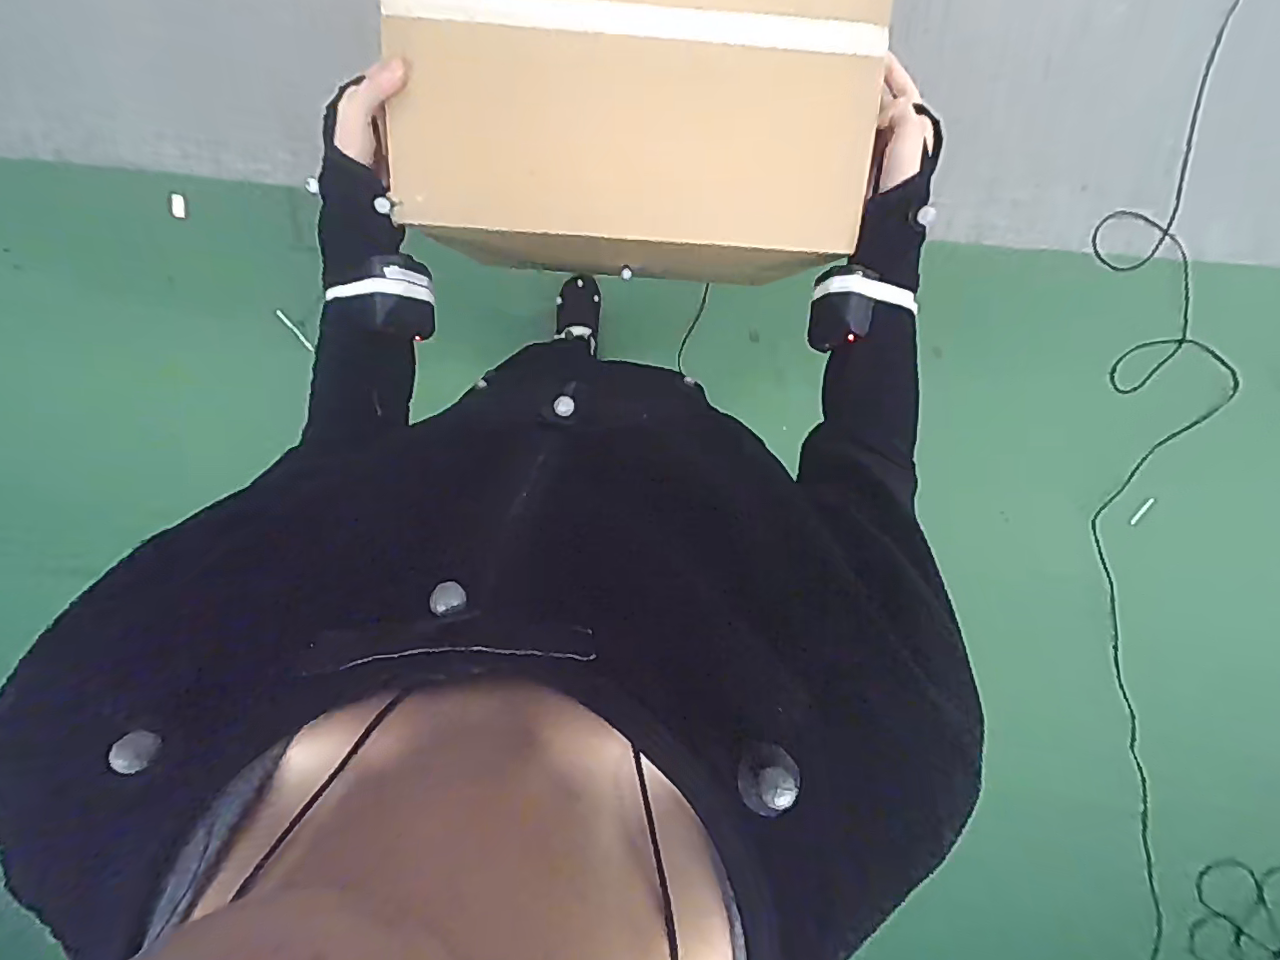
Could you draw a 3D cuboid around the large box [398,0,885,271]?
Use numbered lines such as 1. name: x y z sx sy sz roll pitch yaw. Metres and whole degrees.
1. large box: -0.001 -0.410 0.587 0.408 0.320 0.320 3 105 -2
